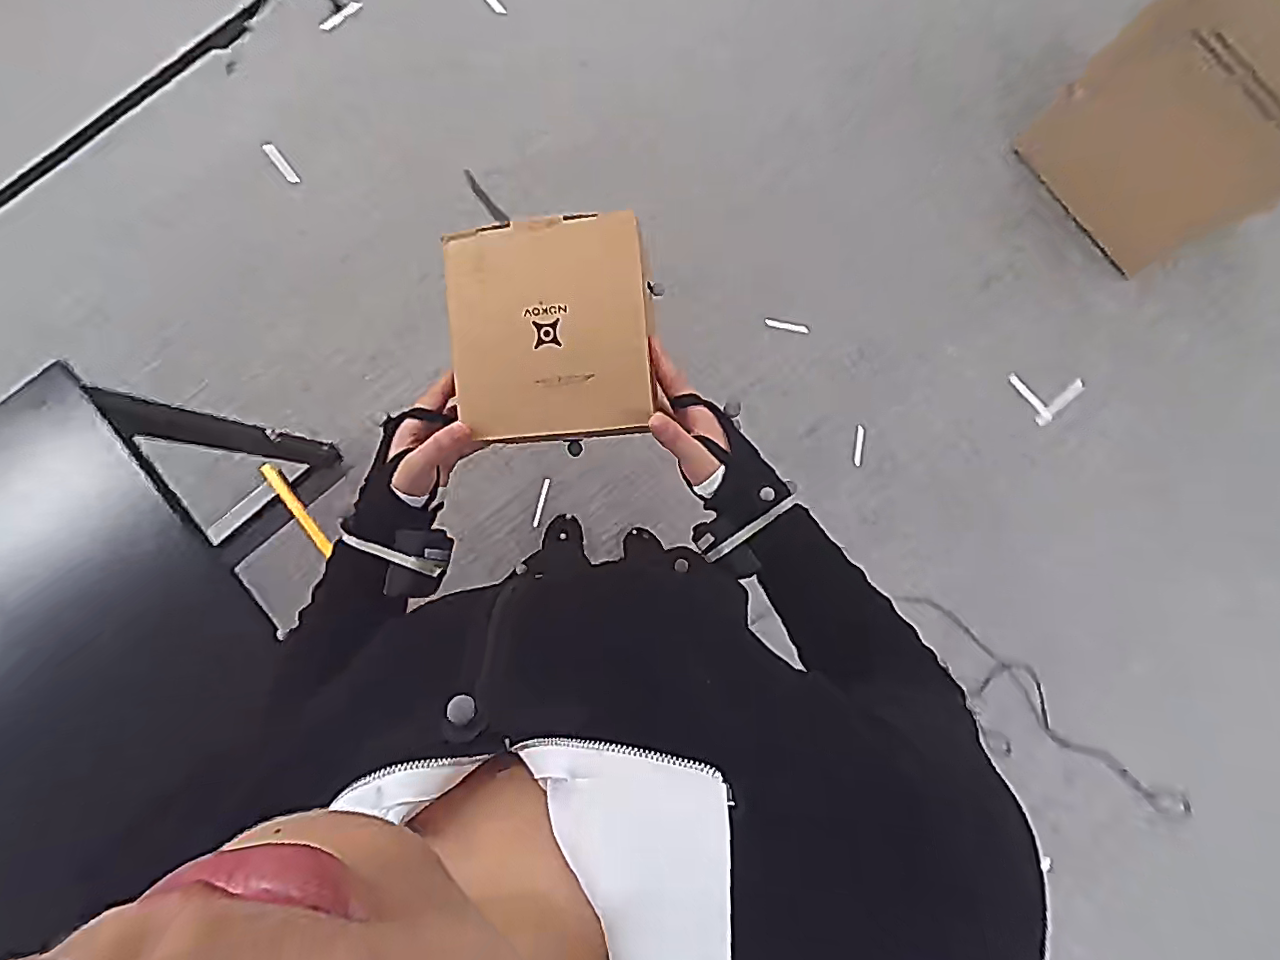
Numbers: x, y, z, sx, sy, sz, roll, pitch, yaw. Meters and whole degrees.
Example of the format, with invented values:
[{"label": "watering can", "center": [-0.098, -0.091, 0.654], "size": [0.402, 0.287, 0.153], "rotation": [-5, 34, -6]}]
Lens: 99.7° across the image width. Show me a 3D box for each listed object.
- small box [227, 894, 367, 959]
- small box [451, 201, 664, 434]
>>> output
[{"label": "small box", "center": [-0.448, 0.663, 0.647], "size": [0.168, 0.176, 0.179], "rotation": [-39, 85, -3]}, {"label": "small box", "center": [-0.065, -0.138, 0.521], "size": [0.168, 0.176, 0.179], "rotation": [-3, 93, 6]}]
